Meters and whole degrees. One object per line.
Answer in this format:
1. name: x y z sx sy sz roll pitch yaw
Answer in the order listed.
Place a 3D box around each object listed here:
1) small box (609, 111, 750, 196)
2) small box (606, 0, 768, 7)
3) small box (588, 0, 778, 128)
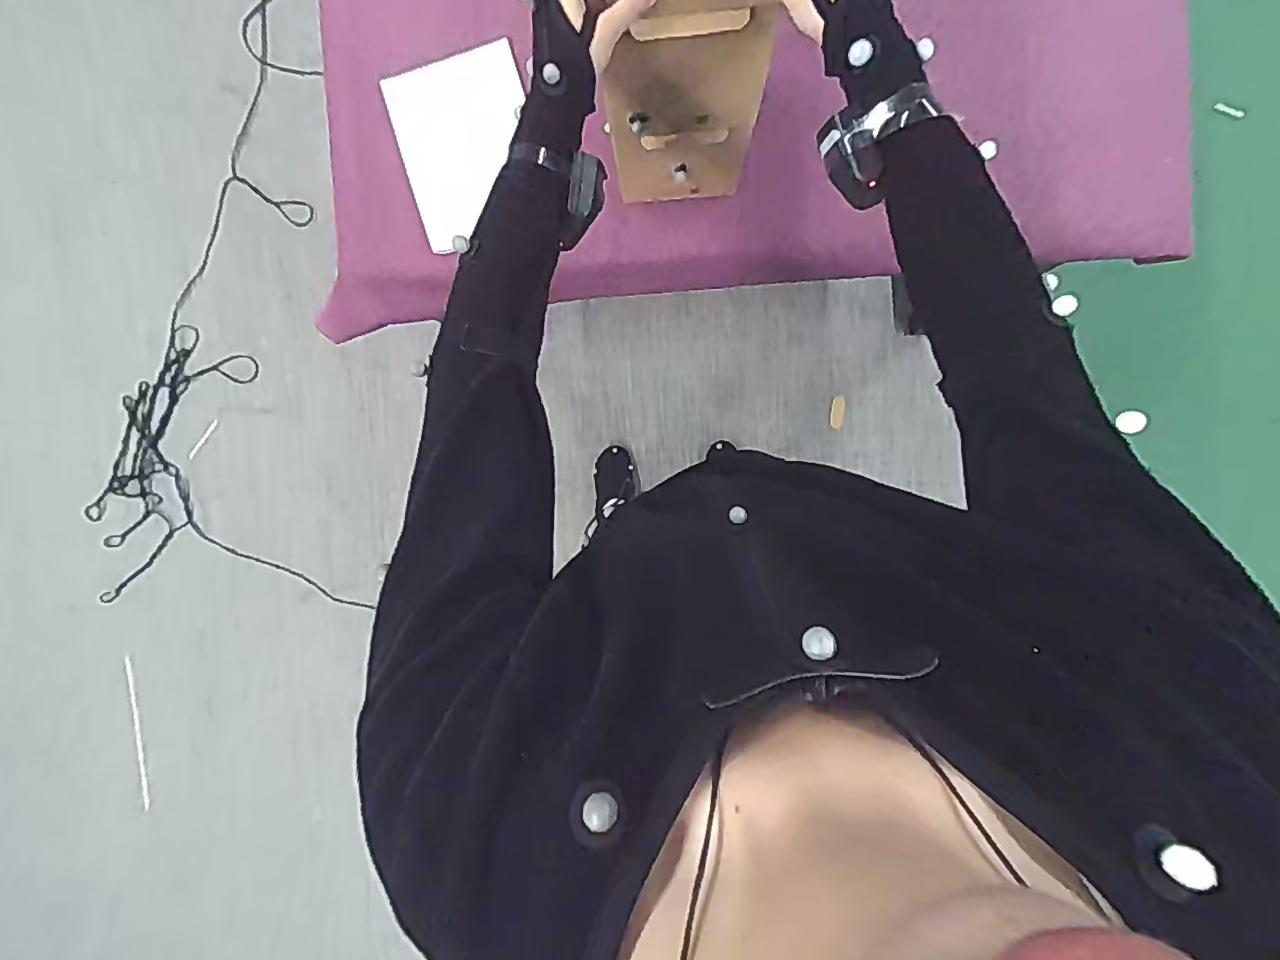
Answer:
1. small box: 0.048 -0.491 0.703 0.168 0.176 0.179 -3 91 3
2. small box: 0.031 -0.477 0.376 0.168 0.176 0.179 -2 90 2
3. small box: 0.040 -0.483 0.538 0.168 0.176 0.179 -3 89 3
